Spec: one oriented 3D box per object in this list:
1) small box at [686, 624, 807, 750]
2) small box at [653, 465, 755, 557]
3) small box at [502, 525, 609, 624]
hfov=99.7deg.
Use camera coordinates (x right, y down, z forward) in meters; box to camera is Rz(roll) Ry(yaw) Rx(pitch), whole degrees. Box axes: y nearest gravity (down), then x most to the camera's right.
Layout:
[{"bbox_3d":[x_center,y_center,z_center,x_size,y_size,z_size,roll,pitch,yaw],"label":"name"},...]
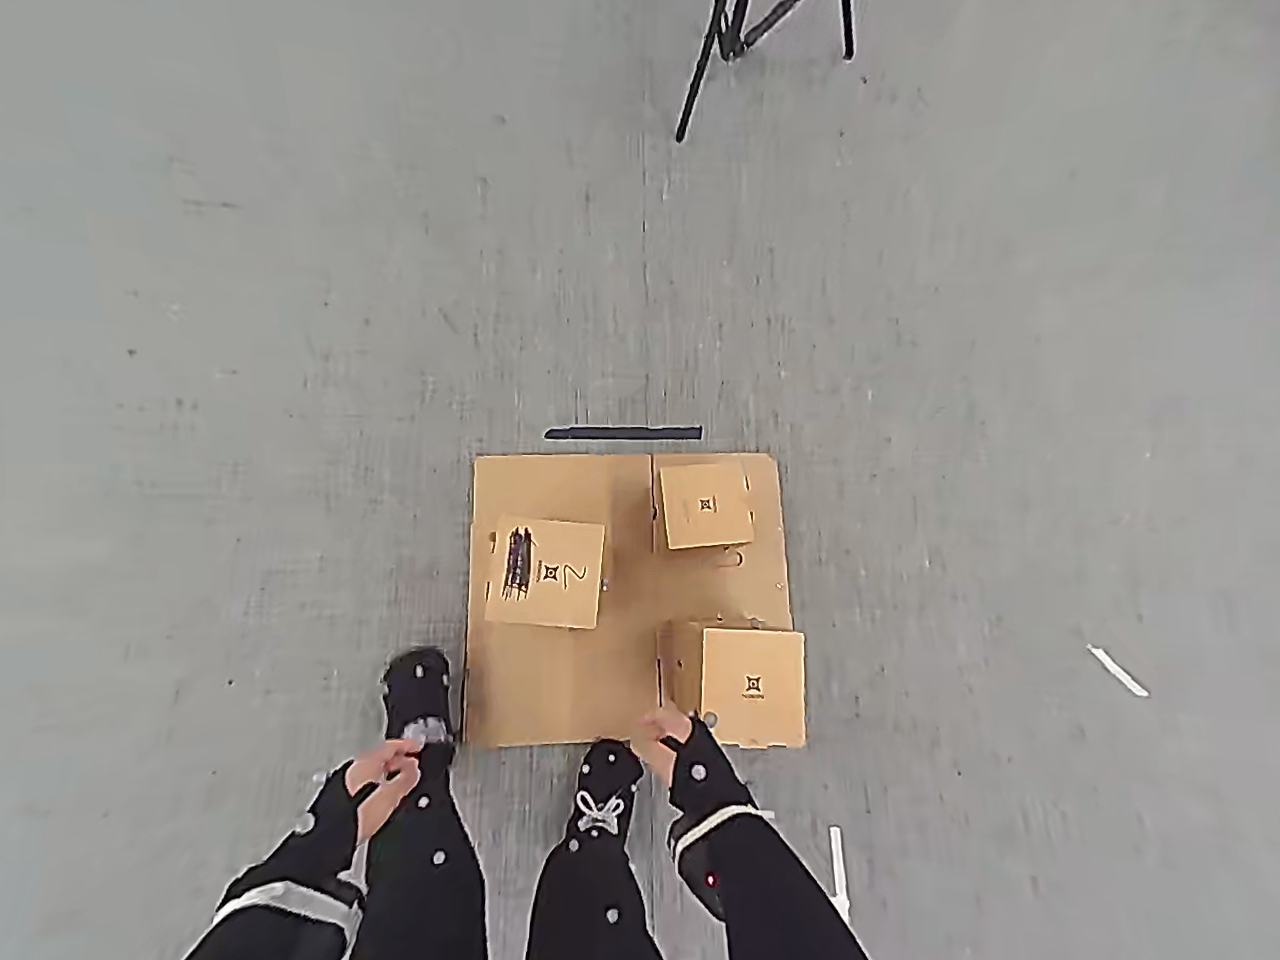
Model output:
[{"bbox_3d":[0.172,0.340,0.917,0.168,0.176,0.179,3,80,-4],"label":"small box"},{"bbox_3d":[0.127,0.069,1.138,0.179,0.176,0.168,-5,78,-5],"label":"small box"},{"bbox_3d":[-0.161,0.192,1.087,0.179,0.176,0.168,8,78,-1],"label":"small box"}]
